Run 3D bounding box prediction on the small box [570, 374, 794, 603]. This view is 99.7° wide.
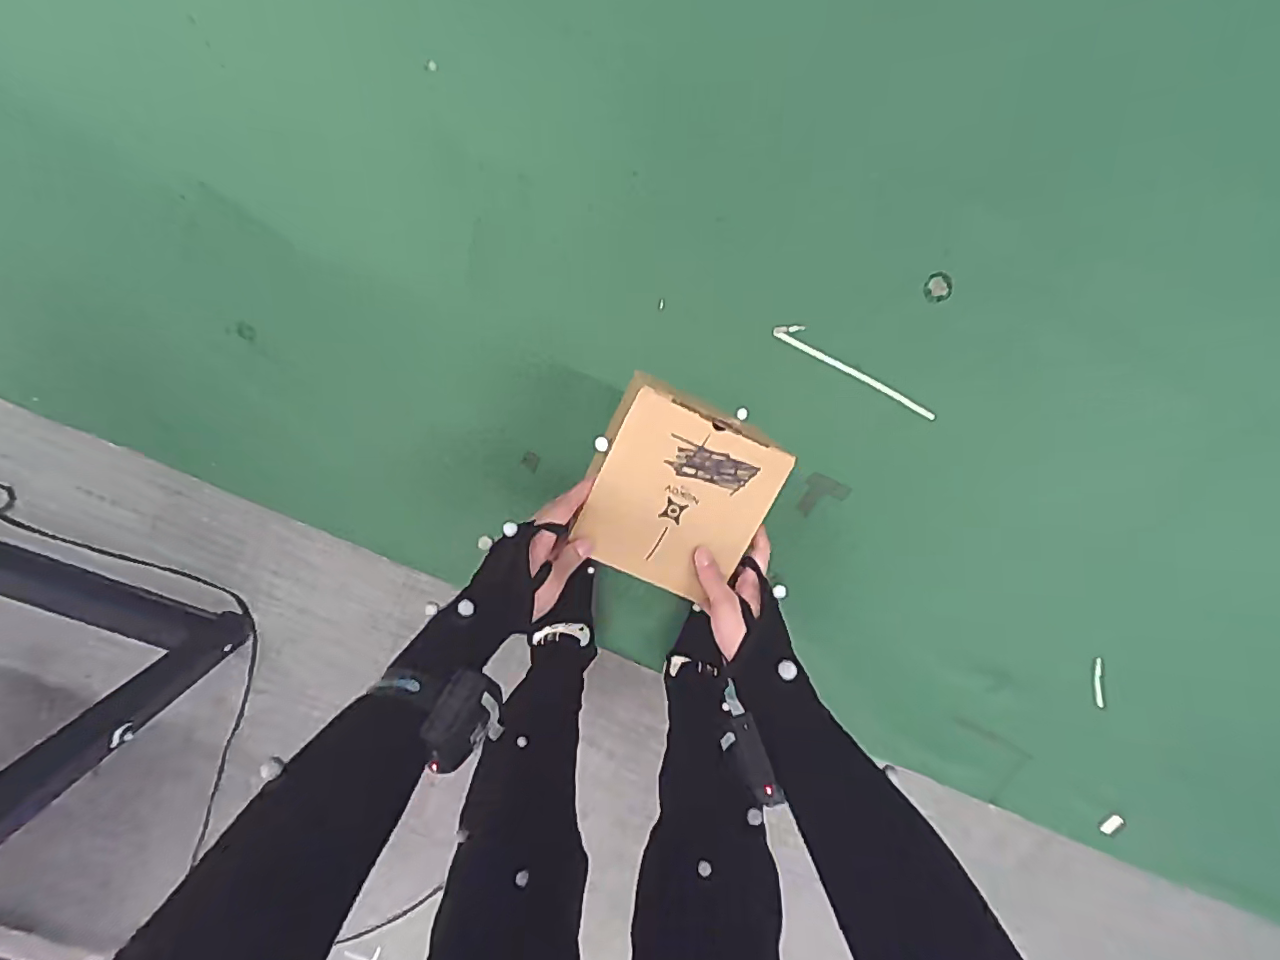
[{"bbox_3d":[0.035,-0.003,0.598,0.168,0.176,0.179,25,104,-9],"label":"small box"}]
